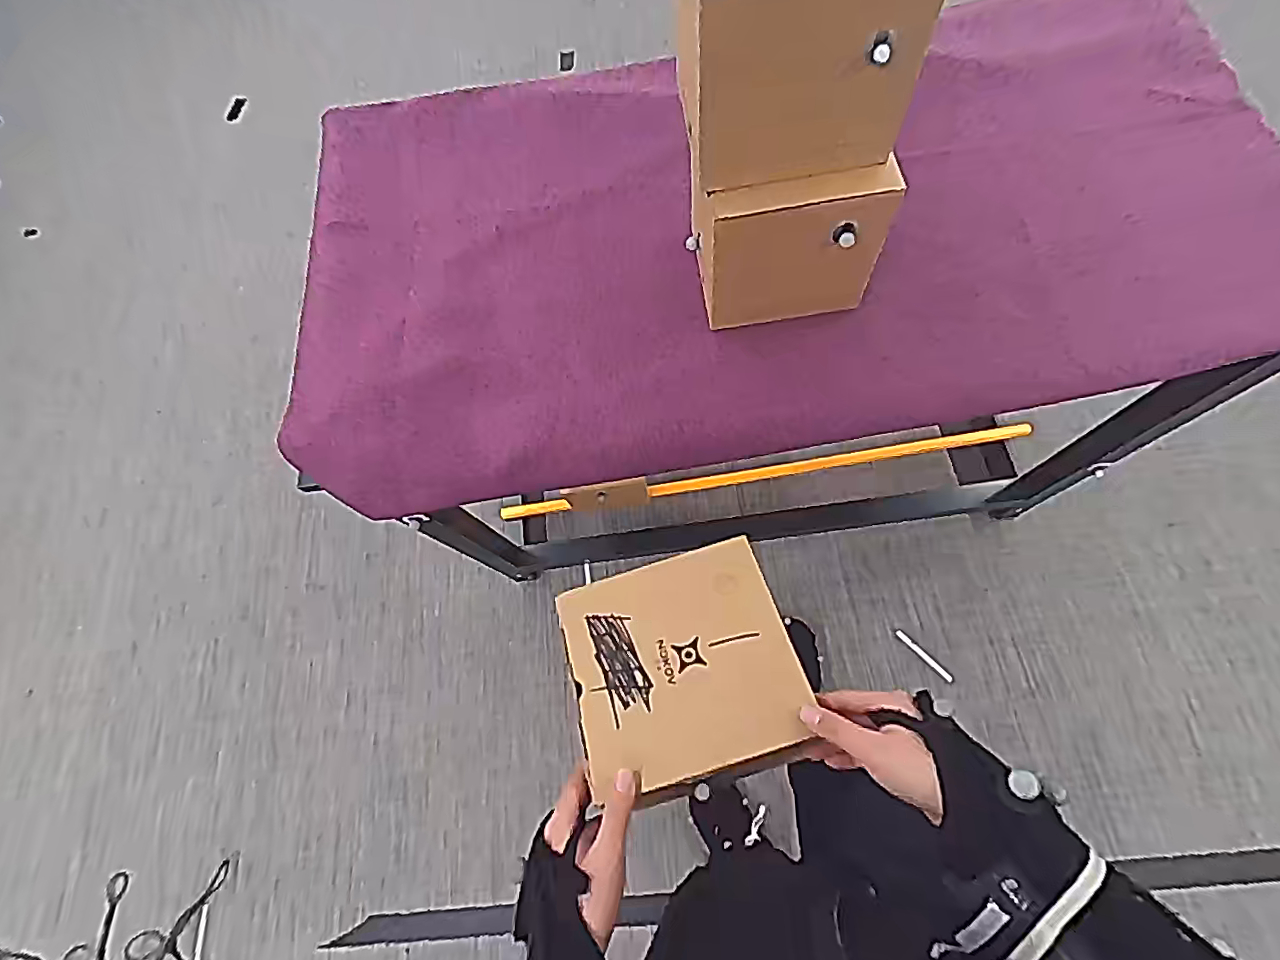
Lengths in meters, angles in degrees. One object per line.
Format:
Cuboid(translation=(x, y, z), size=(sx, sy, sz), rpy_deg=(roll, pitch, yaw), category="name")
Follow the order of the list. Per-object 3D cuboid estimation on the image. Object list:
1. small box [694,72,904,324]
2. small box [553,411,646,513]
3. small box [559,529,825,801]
Cuboid(translation=(0.154, -0.296, 0.594), size=(0.179, 0.176, 0.168), rpy_deg=(-8, 68, 4), category="small box")
Cuboid(translation=(-0.082, -0.034, 1.190), size=(0.179, 0.176, 0.168), rpy_deg=(-9, 71, 3), category="small box")
Cuboid(translation=(0.044, 0.174, 0.489), size=(0.179, 0.176, 0.168), rpy_deg=(-17, 56, -1), category="small box")
